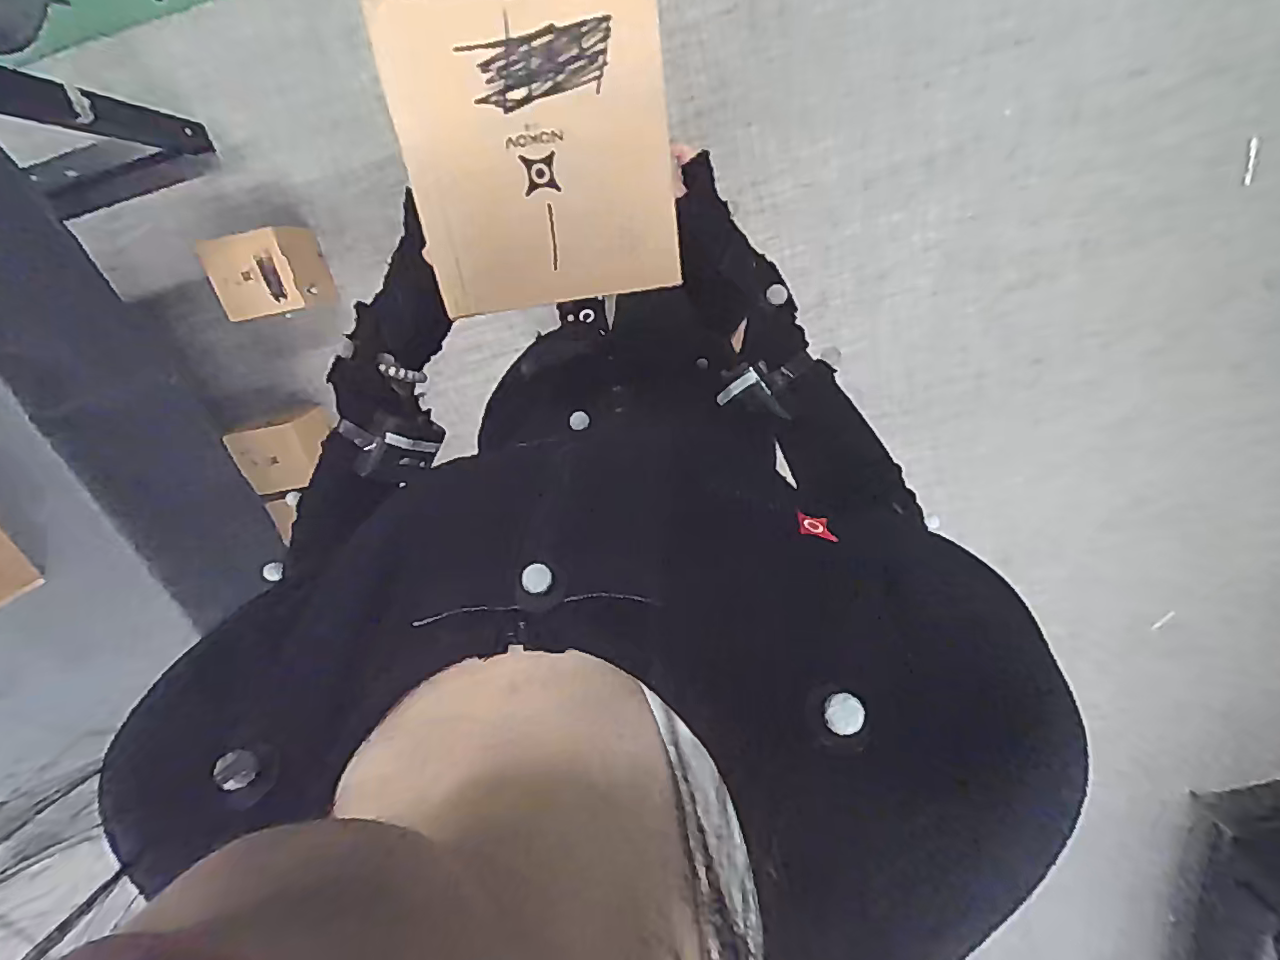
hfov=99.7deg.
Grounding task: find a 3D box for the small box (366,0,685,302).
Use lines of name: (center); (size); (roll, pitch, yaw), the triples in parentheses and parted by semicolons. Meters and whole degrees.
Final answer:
small box: (-0.068, -0.239, 0.396); (0.168, 0.176, 0.179); (-9, 116, -2)
